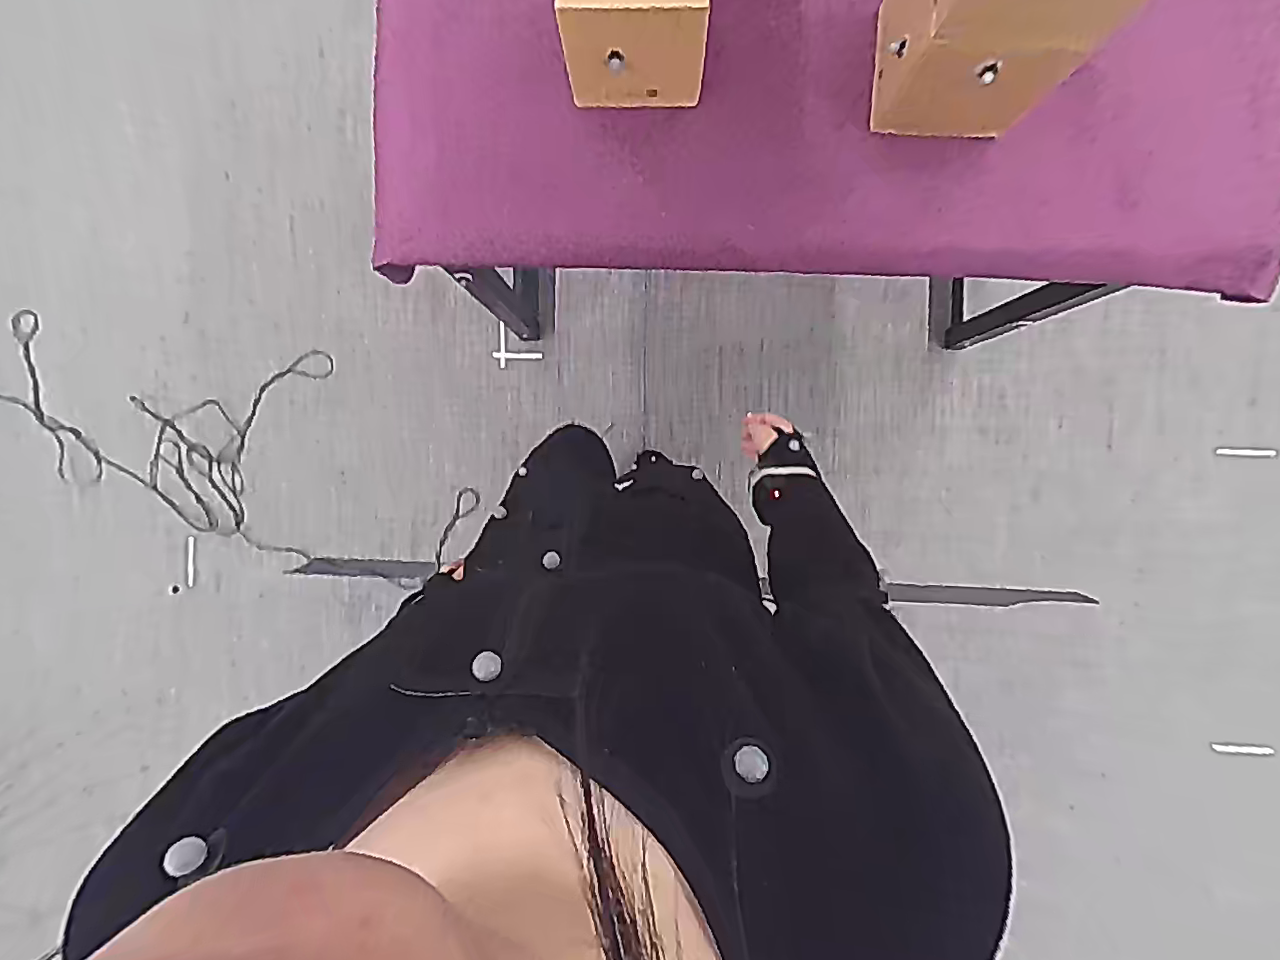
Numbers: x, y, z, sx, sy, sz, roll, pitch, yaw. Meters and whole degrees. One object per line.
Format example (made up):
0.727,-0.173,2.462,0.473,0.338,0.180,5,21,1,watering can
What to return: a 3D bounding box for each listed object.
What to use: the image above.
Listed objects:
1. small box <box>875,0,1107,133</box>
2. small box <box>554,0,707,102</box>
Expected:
0.396,-0.539,0.634,0.179,0.176,0.168,4,93,1,small box
-0.004,-0.586,0.643,0.168,0.176,0.179,1,91,2,small box
